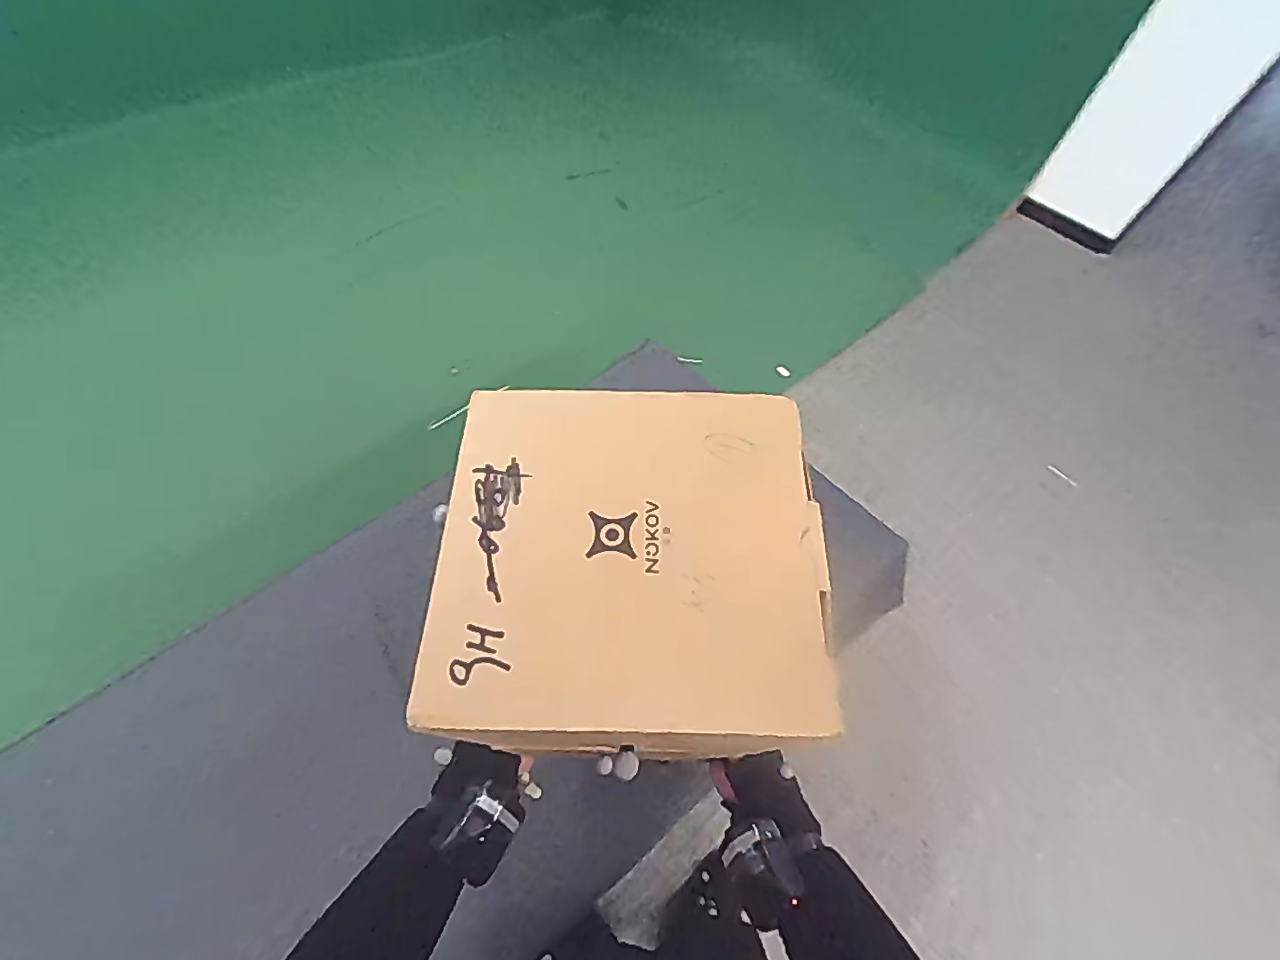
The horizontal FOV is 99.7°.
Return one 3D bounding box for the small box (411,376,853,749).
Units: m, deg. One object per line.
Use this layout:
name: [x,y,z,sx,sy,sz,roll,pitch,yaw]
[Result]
small box: [-0.003,0.061,0.316,0.179,0.176,0.168,3,61,-1]
